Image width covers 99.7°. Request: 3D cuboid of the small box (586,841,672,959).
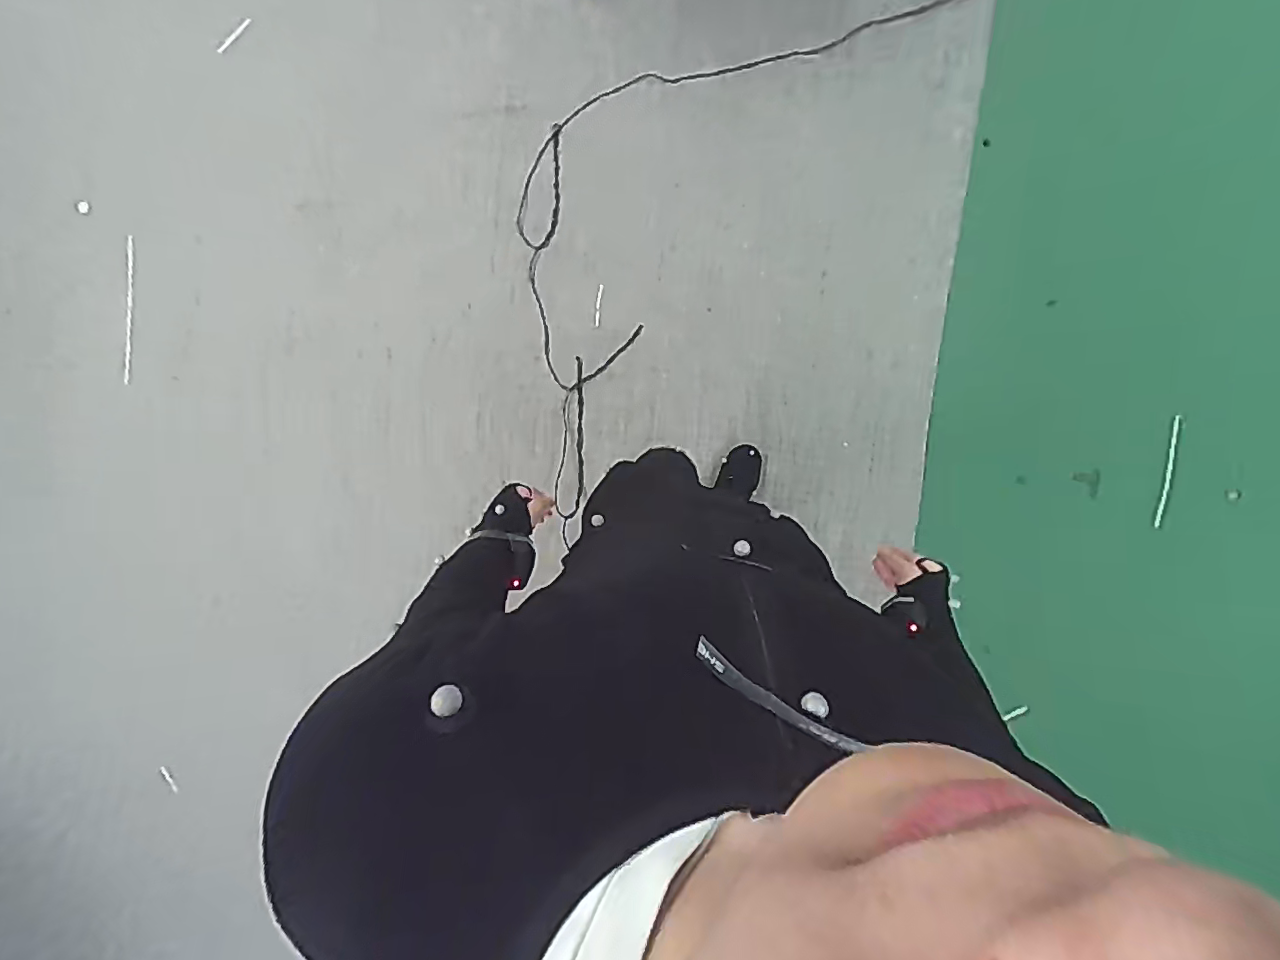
[{"bbox_3d":[-0.019,0.983,1.258,0.179,0.176,0.168,6,93,5],"label":"small box"}]
